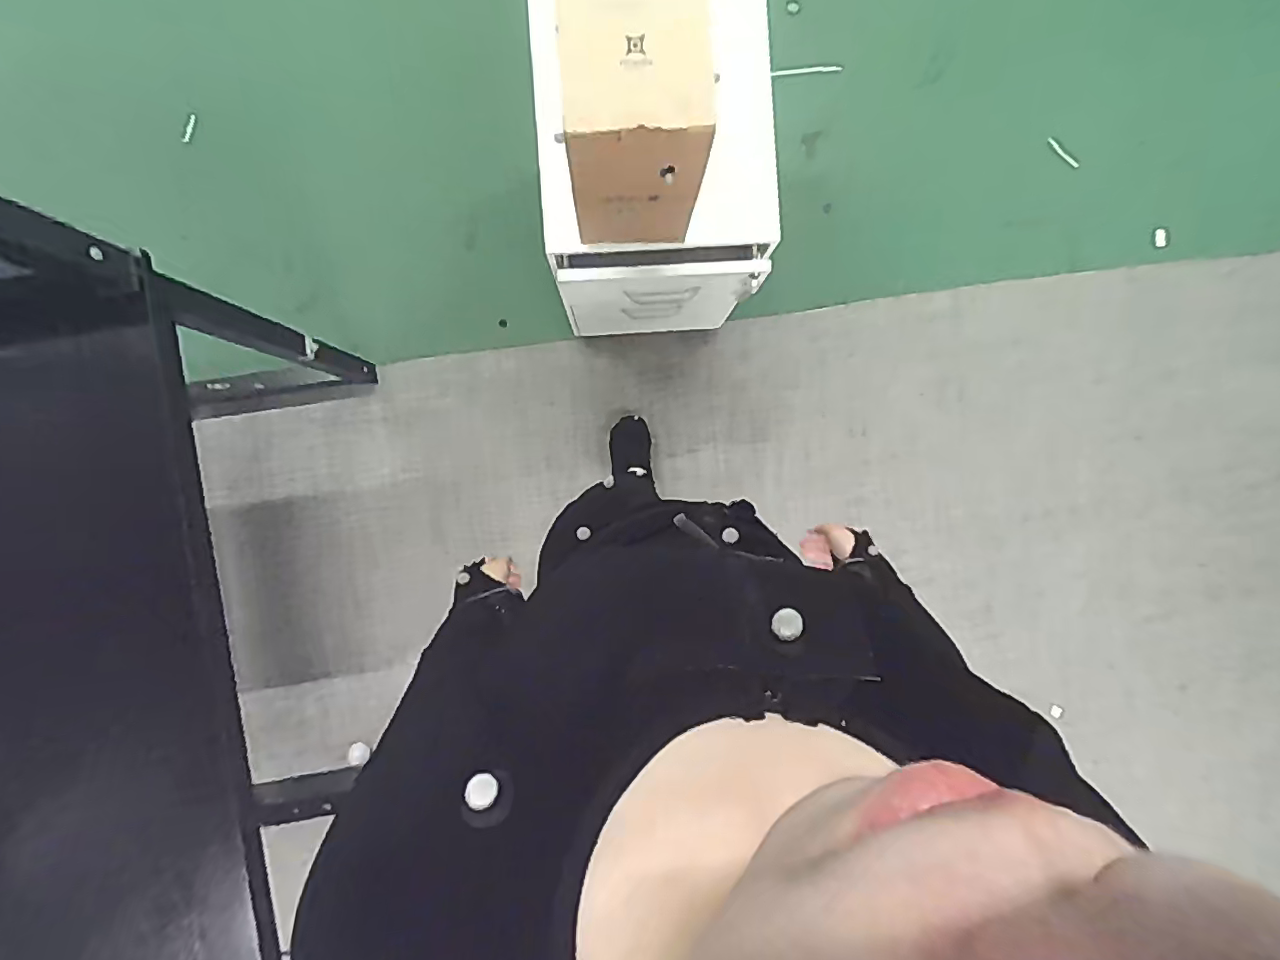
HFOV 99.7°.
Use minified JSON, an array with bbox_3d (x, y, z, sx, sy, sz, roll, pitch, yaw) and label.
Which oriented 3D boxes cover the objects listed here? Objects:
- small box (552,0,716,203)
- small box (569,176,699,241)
[{"bbox_3d":[-0.009,-0.449,0.640,0.168,0.176,0.179,-5,90,-3],"label":"small box"},{"bbox_3d":[-0.011,-0.469,0.801,0.179,0.176,0.168,-1,91,-3],"label":"small box"}]
